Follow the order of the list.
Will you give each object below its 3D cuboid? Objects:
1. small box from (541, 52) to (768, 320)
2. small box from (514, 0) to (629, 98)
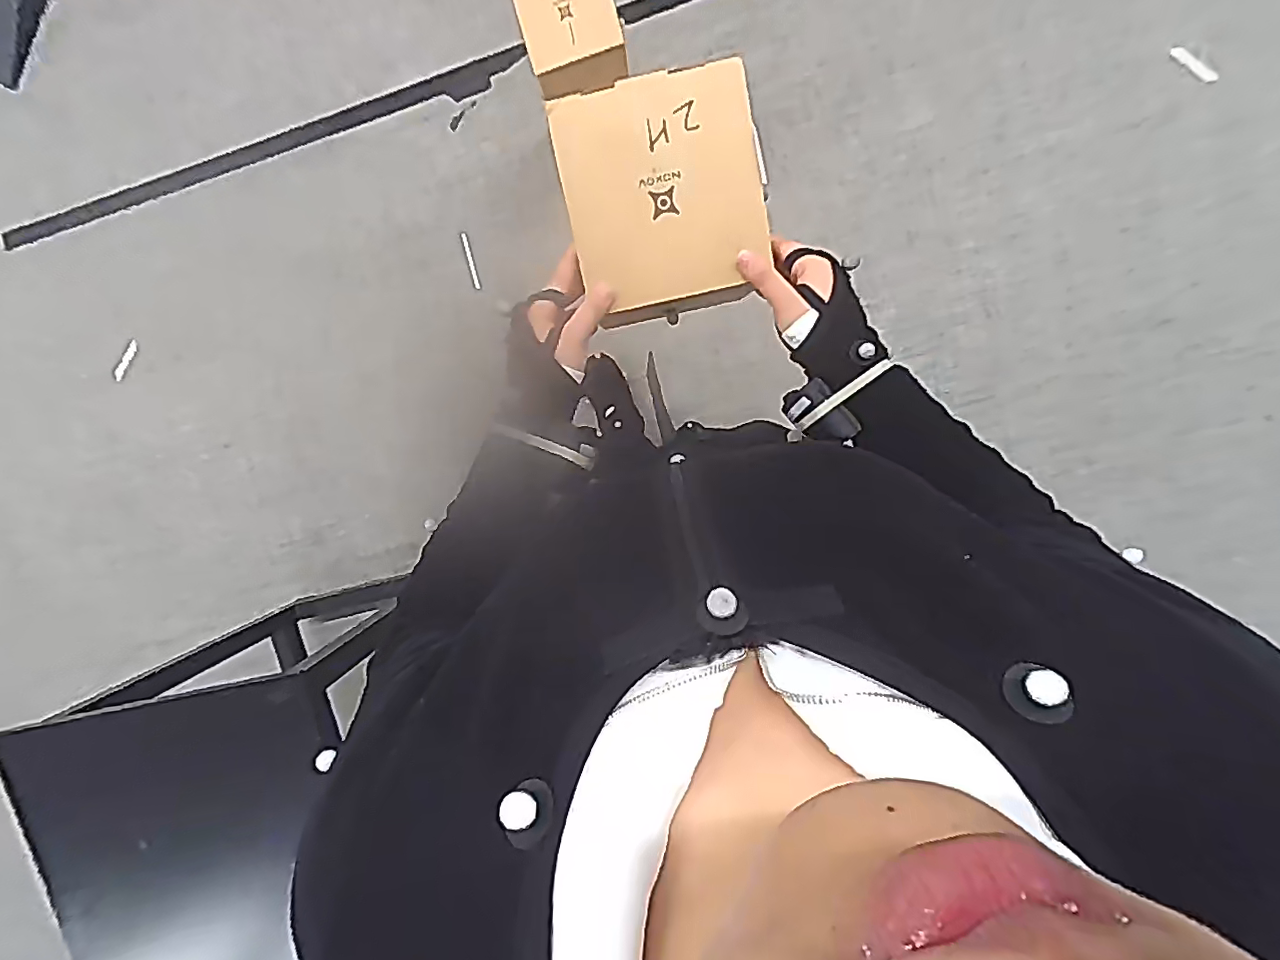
[{"bbox_3d":[0.017,-0.261,0.531,0.168,0.176,0.179,-12,101,3],"label":"small box"},{"bbox_3d":[-0.121,-0.808,1.001,0.168,0.176,0.179,-16,96,6],"label":"small box"}]
